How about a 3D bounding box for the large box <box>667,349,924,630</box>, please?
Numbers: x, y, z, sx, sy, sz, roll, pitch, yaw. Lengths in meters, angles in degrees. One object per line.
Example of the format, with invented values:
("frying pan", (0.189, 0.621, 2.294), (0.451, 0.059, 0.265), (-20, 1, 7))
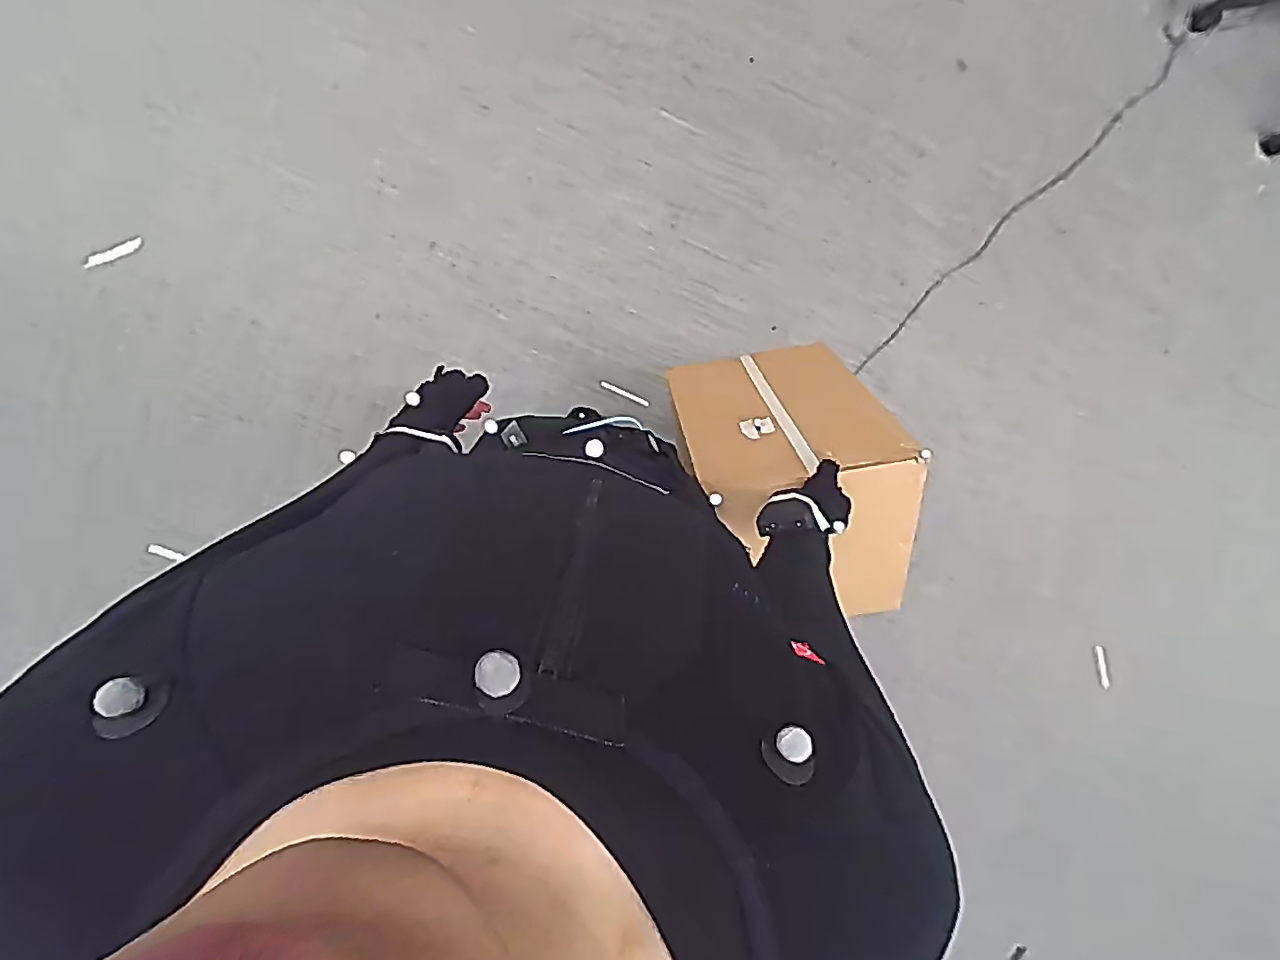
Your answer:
("large box", (0.243, 0.001, 0.992), (0.320, 0.408, 0.320), (-10, 127, 1))
